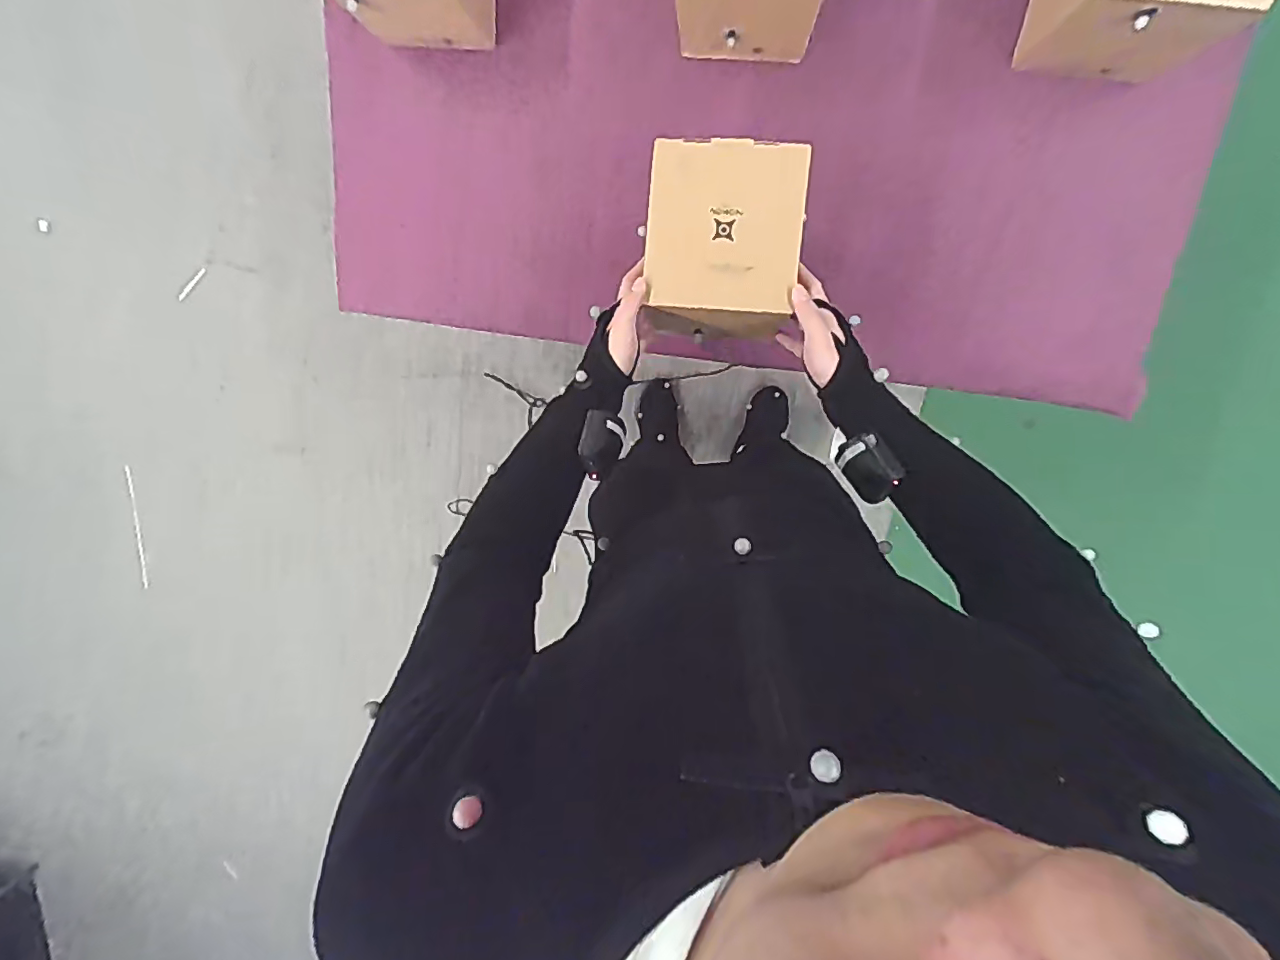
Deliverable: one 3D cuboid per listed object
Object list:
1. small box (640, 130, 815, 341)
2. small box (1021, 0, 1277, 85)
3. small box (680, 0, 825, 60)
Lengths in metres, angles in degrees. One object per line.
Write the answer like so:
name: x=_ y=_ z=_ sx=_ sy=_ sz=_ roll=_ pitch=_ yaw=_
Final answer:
small box: x=0.095 y=-0.275 z=0.642 sx=0.168 sy=0.176 sz=0.179 roll=6 pitch=96 yaw=4
small box: x=0.559 y=-0.573 z=0.586 sx=0.168 sy=0.176 sz=0.179 roll=11 pitch=106 yaw=5
small box: x=0.135 y=-0.631 z=0.623 sx=0.168 sy=0.176 sz=0.179 roll=7 pitch=106 yaw=4
